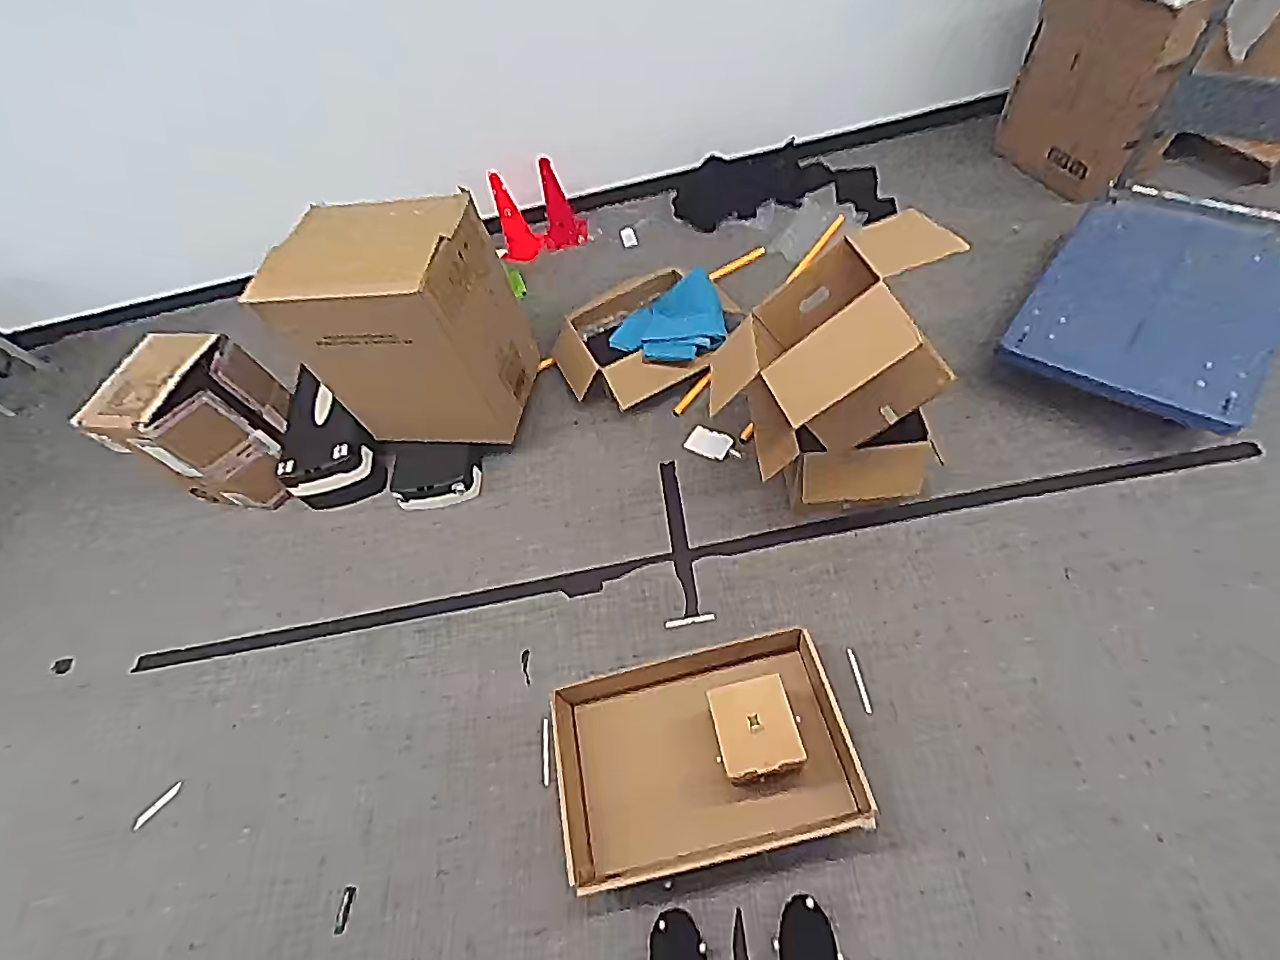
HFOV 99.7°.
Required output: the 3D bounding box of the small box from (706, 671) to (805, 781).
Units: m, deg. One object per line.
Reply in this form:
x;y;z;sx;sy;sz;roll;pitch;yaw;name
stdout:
0.250;0.547;1.195;0.168;0.176;0.179;-15;56;2;small box
